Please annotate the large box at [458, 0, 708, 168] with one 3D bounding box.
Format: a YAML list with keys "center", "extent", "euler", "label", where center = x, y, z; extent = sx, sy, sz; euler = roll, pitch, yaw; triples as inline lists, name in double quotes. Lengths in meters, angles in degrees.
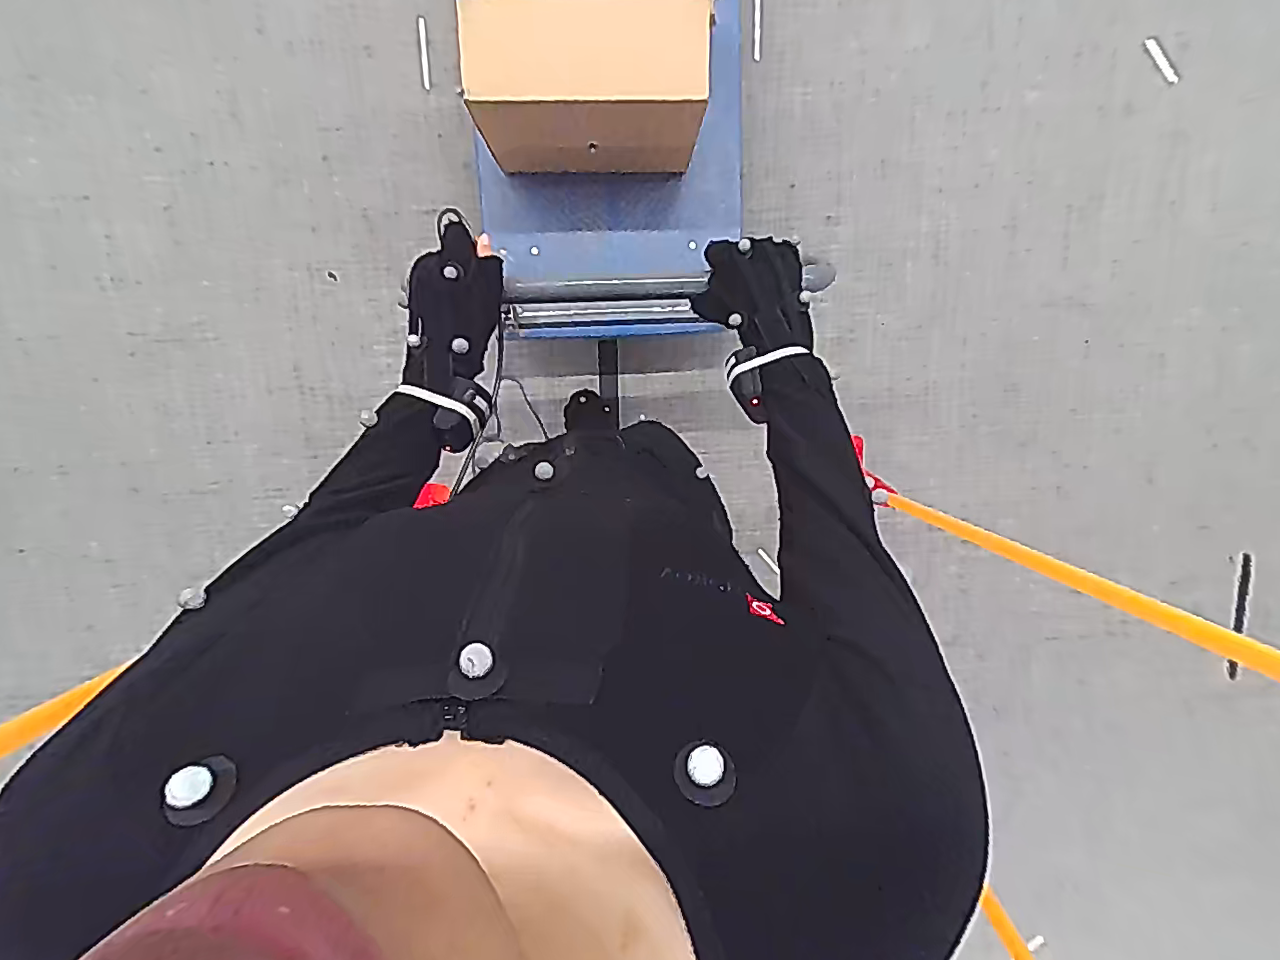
- center: [-0.093, -0.801, 1.004]
  extent: [0.408, 0.320, 0.320]
  euler: [-1, 100, -1]
  label: "large box"

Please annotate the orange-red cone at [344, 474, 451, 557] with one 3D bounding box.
- center: [-0.606, 0.113, 1.293]
  extent: [0.198, 0.360, 0.199]
  euler: [5, 98, -4]
  label: "orange-red cone"
